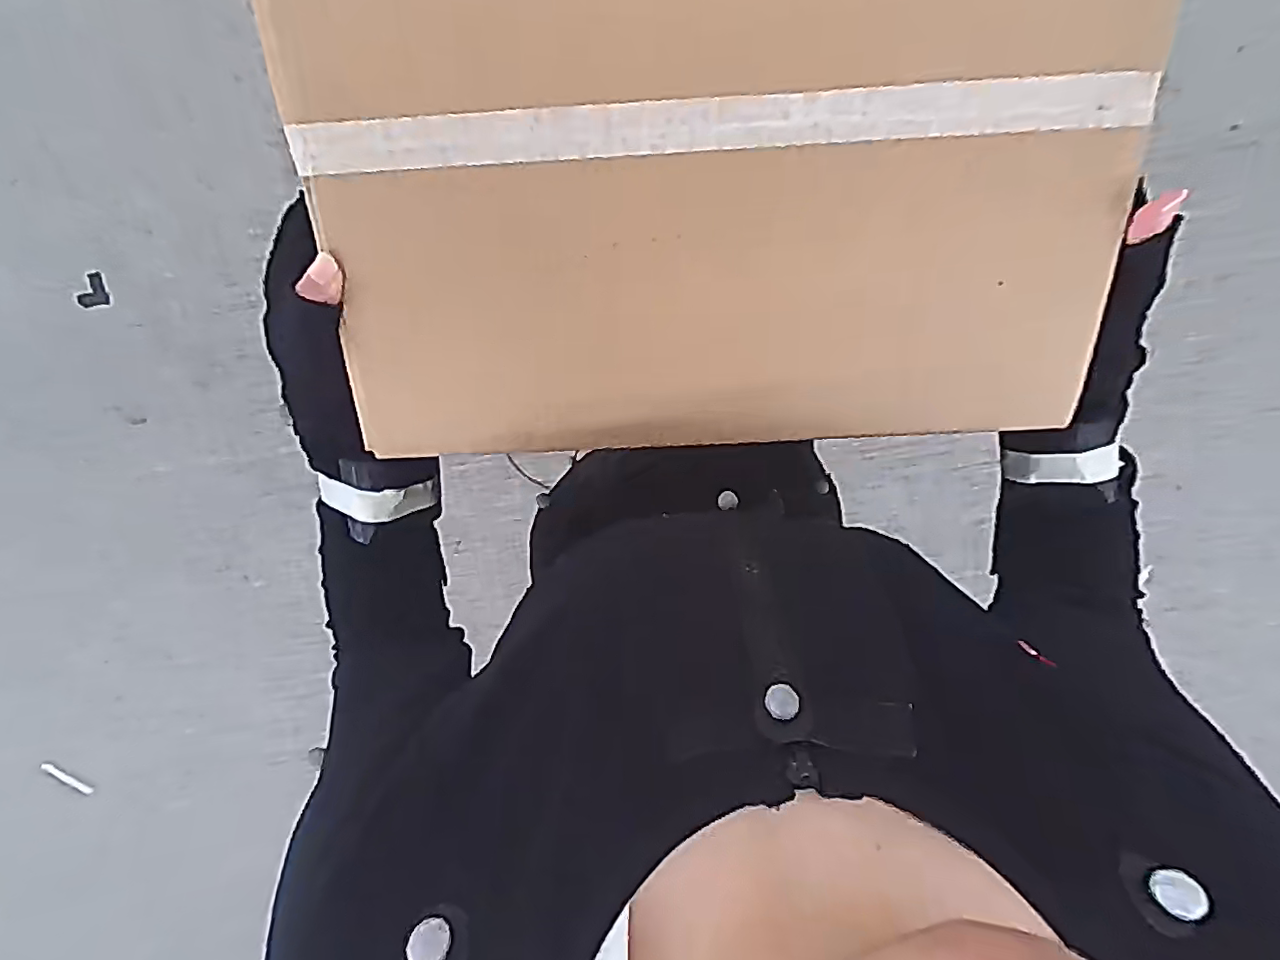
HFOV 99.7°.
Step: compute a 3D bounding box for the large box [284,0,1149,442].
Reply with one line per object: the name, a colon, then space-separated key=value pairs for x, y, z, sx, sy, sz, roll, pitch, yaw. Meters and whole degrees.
large box: x=0.034 y=-0.230 z=0.405 sx=0.408 sy=0.320 sz=0.320 roll=-3 pitch=112 yaw=1
